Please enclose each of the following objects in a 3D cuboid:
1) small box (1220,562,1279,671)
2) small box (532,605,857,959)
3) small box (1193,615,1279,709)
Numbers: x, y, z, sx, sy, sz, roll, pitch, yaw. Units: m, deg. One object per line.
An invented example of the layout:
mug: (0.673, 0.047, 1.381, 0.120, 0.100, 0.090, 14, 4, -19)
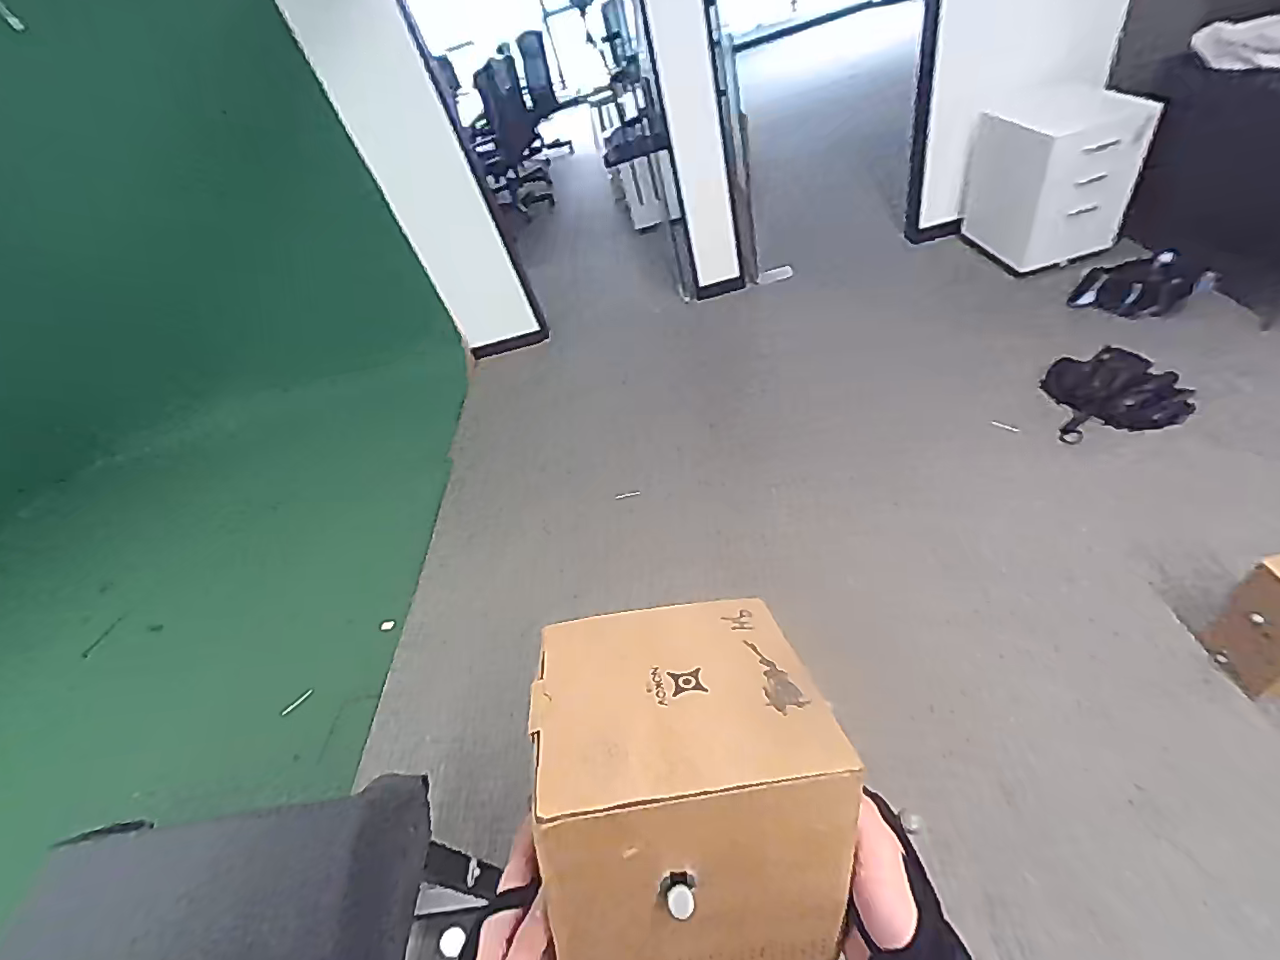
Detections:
small box: (1.403, 0.279, 1.132, 0.179, 0.176, 0.168, -13, 42, 8)
small box: (0.027, 0.212, 0.378, 0.179, 0.176, 0.168, -5, 21, -6)
small box: (1.448, 0.399, 1.236, 0.179, 0.176, 0.168, -15, 42, 7)
